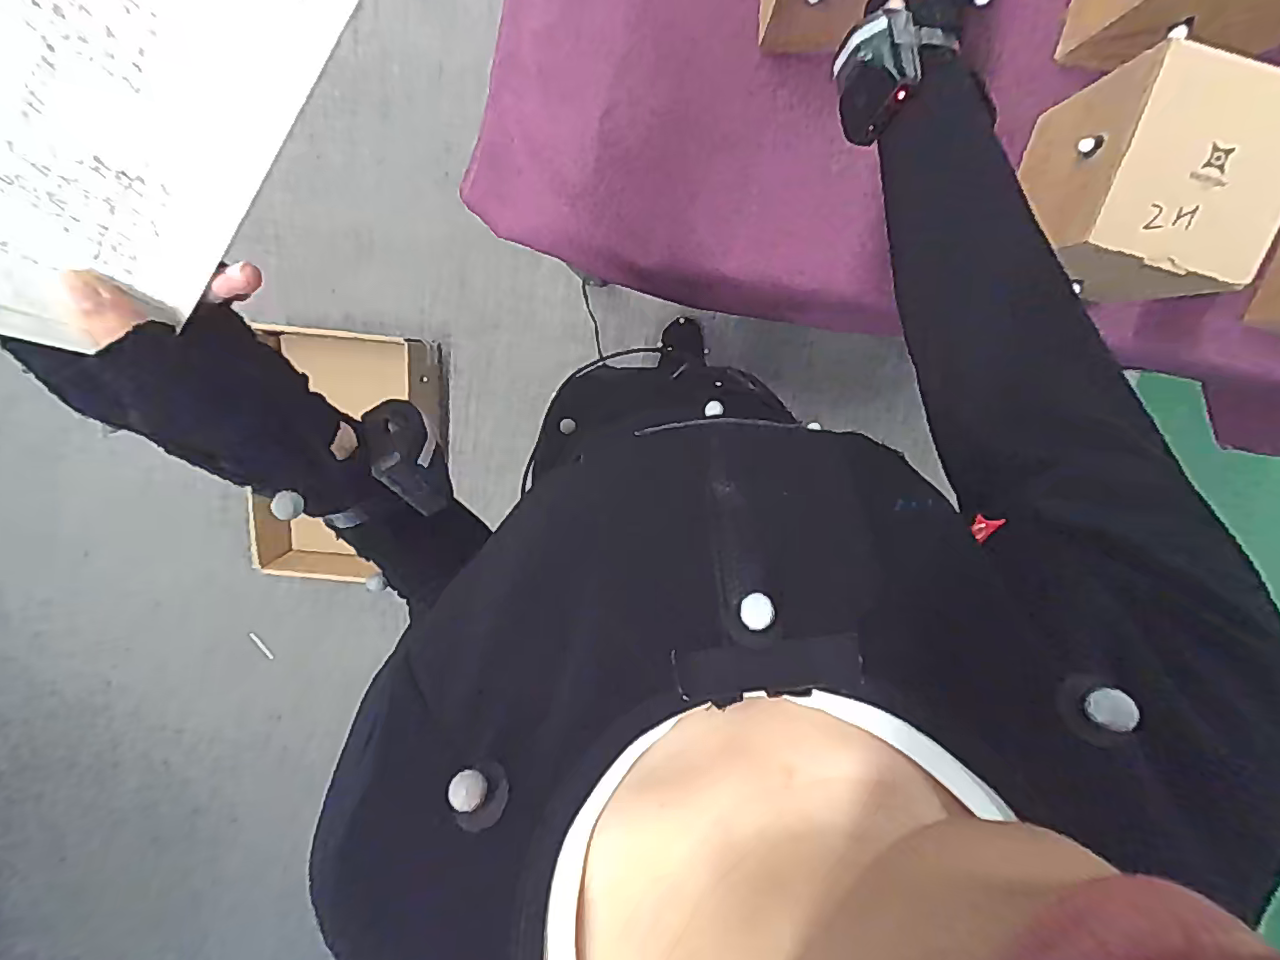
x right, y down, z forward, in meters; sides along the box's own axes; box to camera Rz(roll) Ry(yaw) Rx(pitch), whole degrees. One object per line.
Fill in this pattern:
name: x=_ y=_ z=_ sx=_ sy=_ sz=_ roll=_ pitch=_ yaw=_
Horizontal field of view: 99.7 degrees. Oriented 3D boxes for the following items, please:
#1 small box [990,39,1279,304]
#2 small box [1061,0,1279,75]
small box: x=0.514 y=-0.297 z=0.566 sx=0.168 sy=0.176 sz=0.179 roll=15 pitch=103 yaw=-2
small box: x=0.557 y=-0.516 z=0.516 sx=0.168 sy=0.176 sz=0.179 roll=9 pitch=103 yaw=-1
